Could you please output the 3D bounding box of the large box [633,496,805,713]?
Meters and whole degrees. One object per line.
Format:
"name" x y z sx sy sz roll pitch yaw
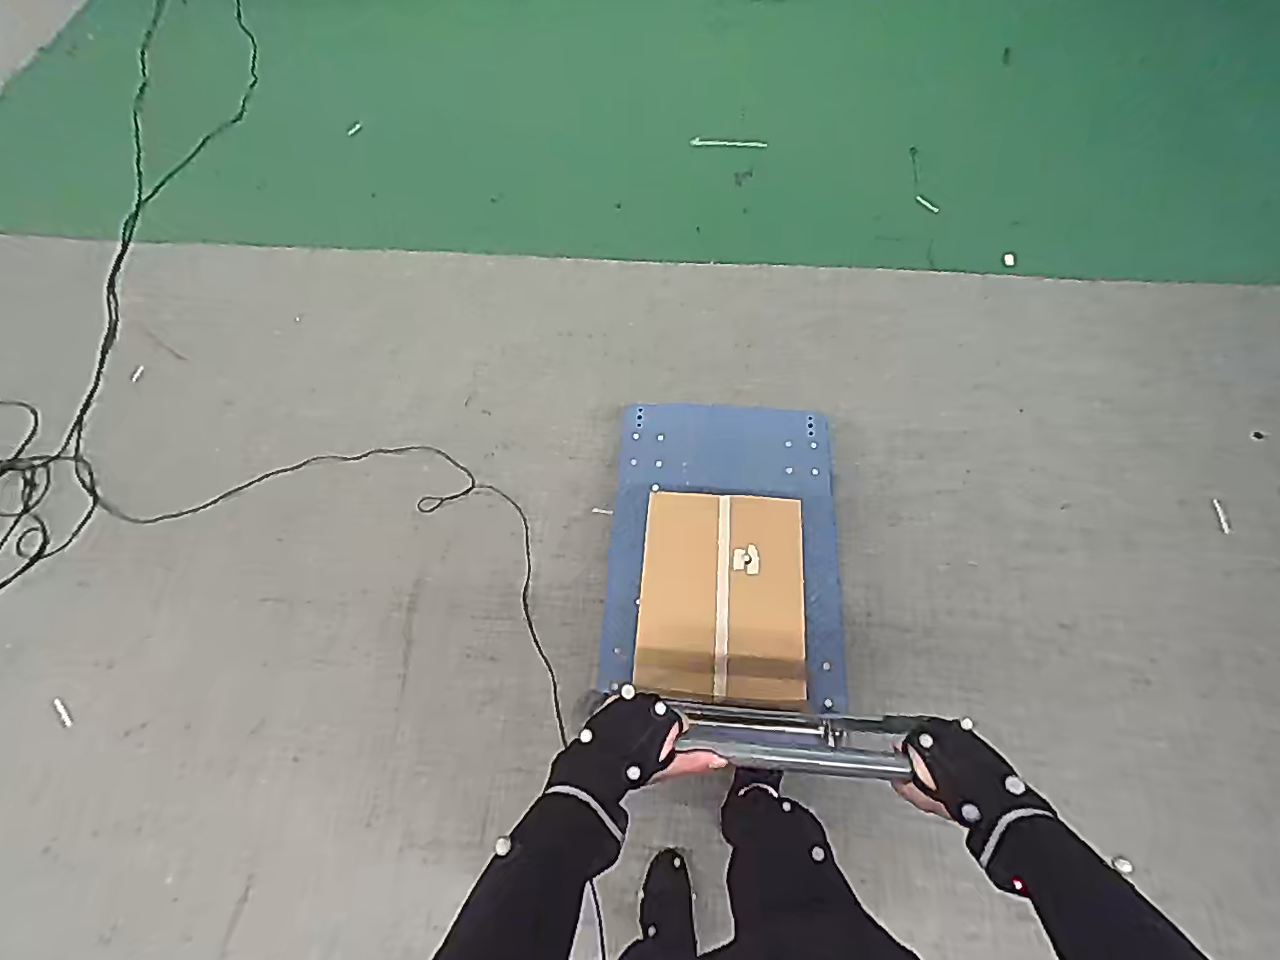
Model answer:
"large box" 0.161 0.283 1.185 0.320 0.320 0.408 3 65 4
